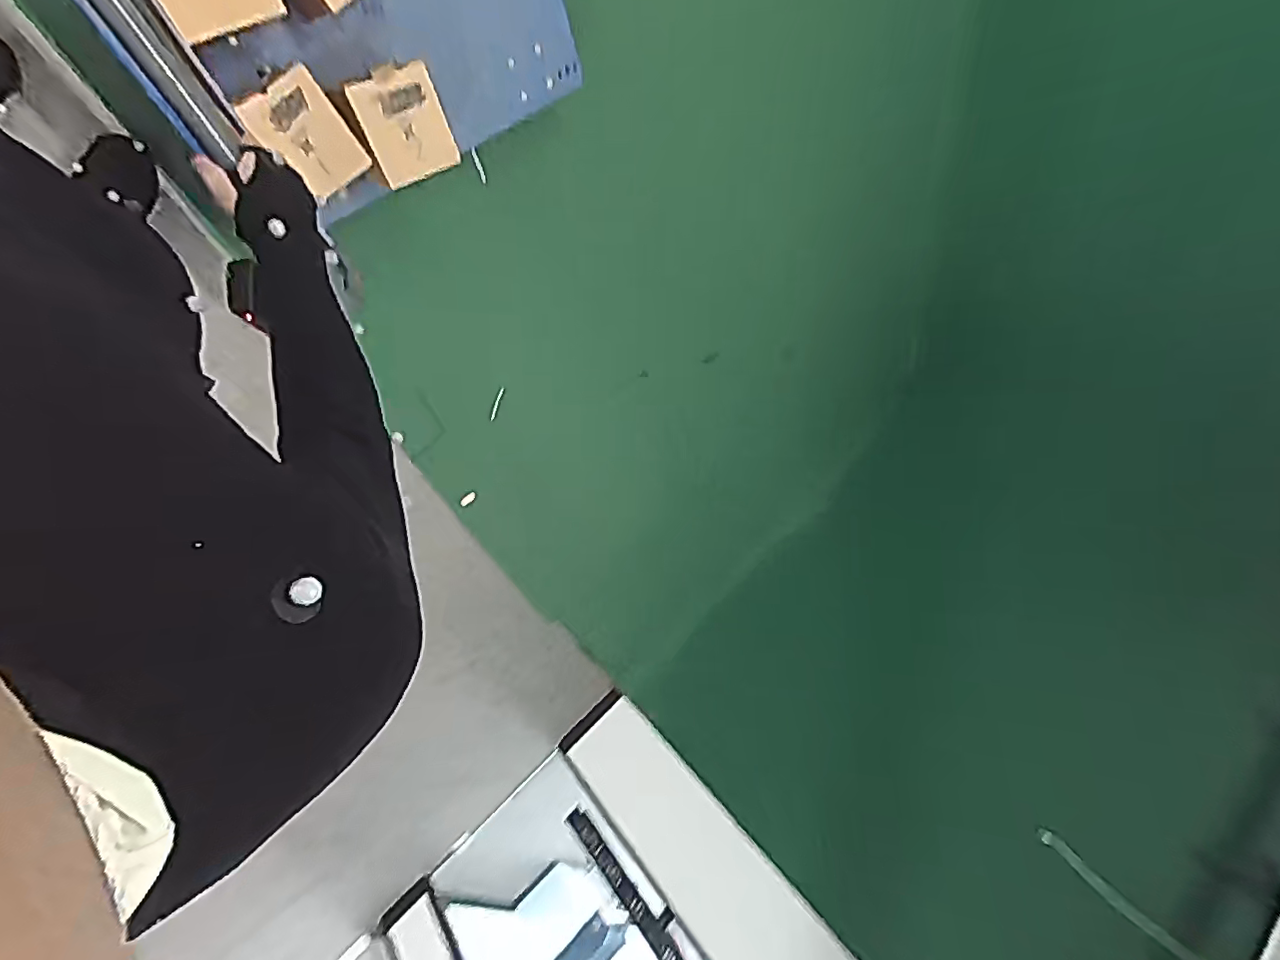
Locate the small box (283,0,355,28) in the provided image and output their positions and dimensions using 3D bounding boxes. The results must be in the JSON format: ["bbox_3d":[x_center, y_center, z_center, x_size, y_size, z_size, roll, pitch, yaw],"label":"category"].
[{"bbox_3d":[-0.562,-0.918,0.925,0.179,0.176,0.168,-49,141,-7],"label":"small box"}]
